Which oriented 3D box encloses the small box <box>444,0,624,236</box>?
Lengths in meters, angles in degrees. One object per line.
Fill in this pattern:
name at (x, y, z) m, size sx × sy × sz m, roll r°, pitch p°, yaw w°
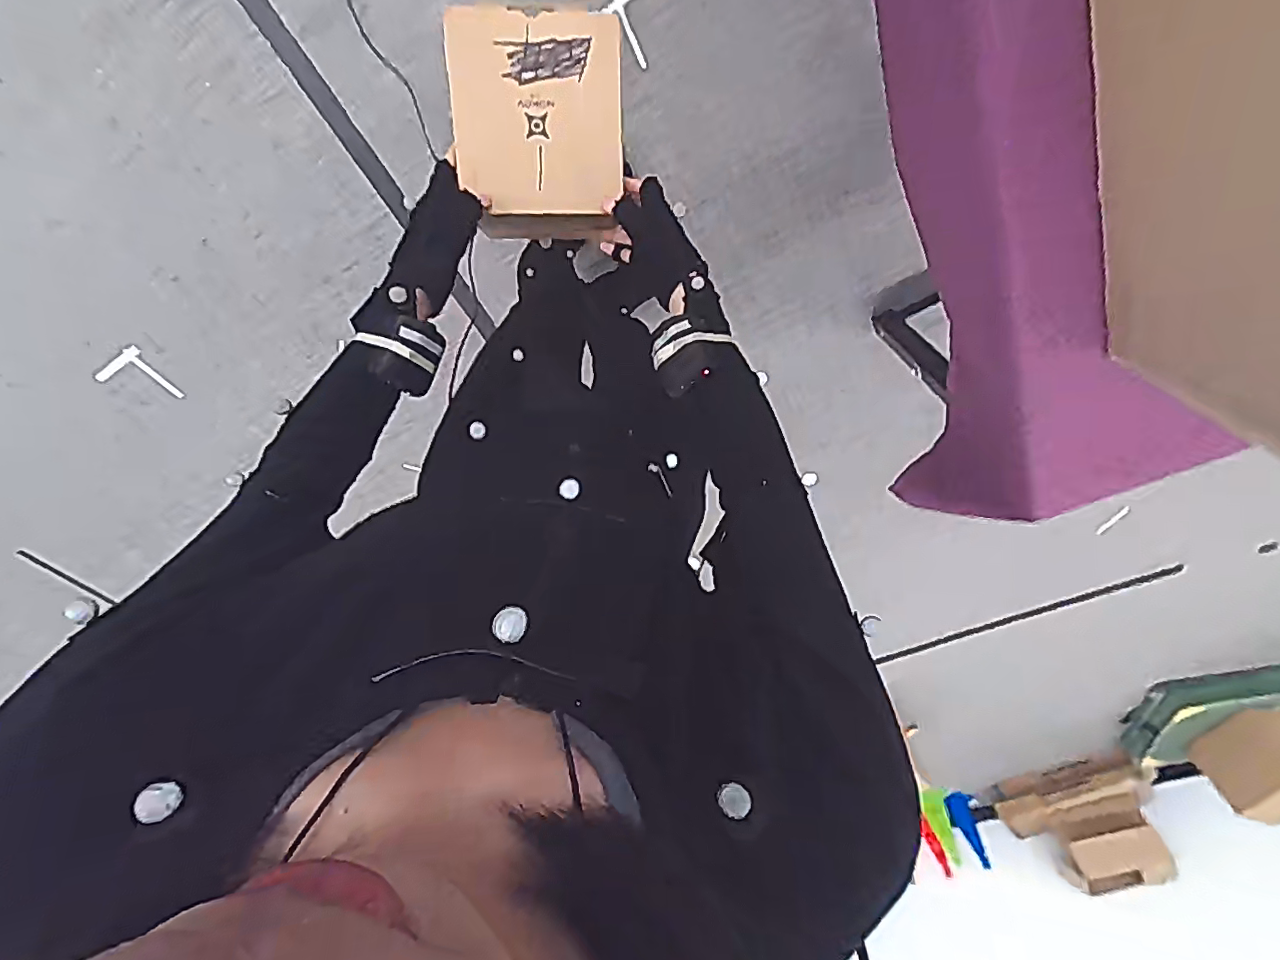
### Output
small box at (-0.107, -0.379, 0.599) m, size 0.168 × 0.176 × 0.179 m, roll -3°, pitch 107°, yaw -5°
